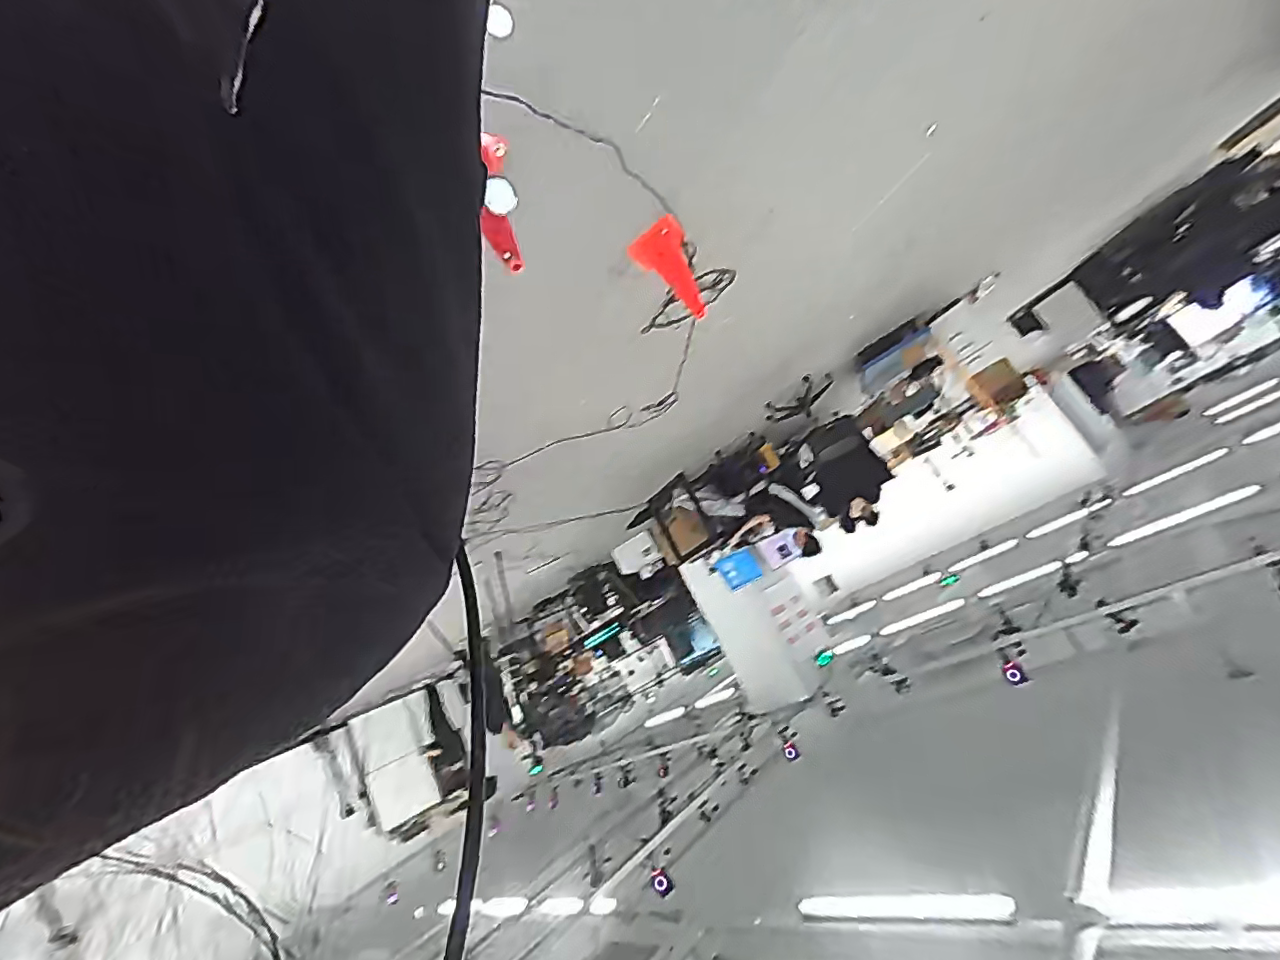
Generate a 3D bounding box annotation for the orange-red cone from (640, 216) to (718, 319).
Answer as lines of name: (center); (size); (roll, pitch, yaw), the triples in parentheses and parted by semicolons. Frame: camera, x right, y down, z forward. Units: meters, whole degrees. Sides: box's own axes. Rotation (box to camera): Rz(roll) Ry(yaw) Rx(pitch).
orange-red cone: (0.184, -0.732, 1.967); (0.199, 0.360, 0.198); (-33, 162, 21)
